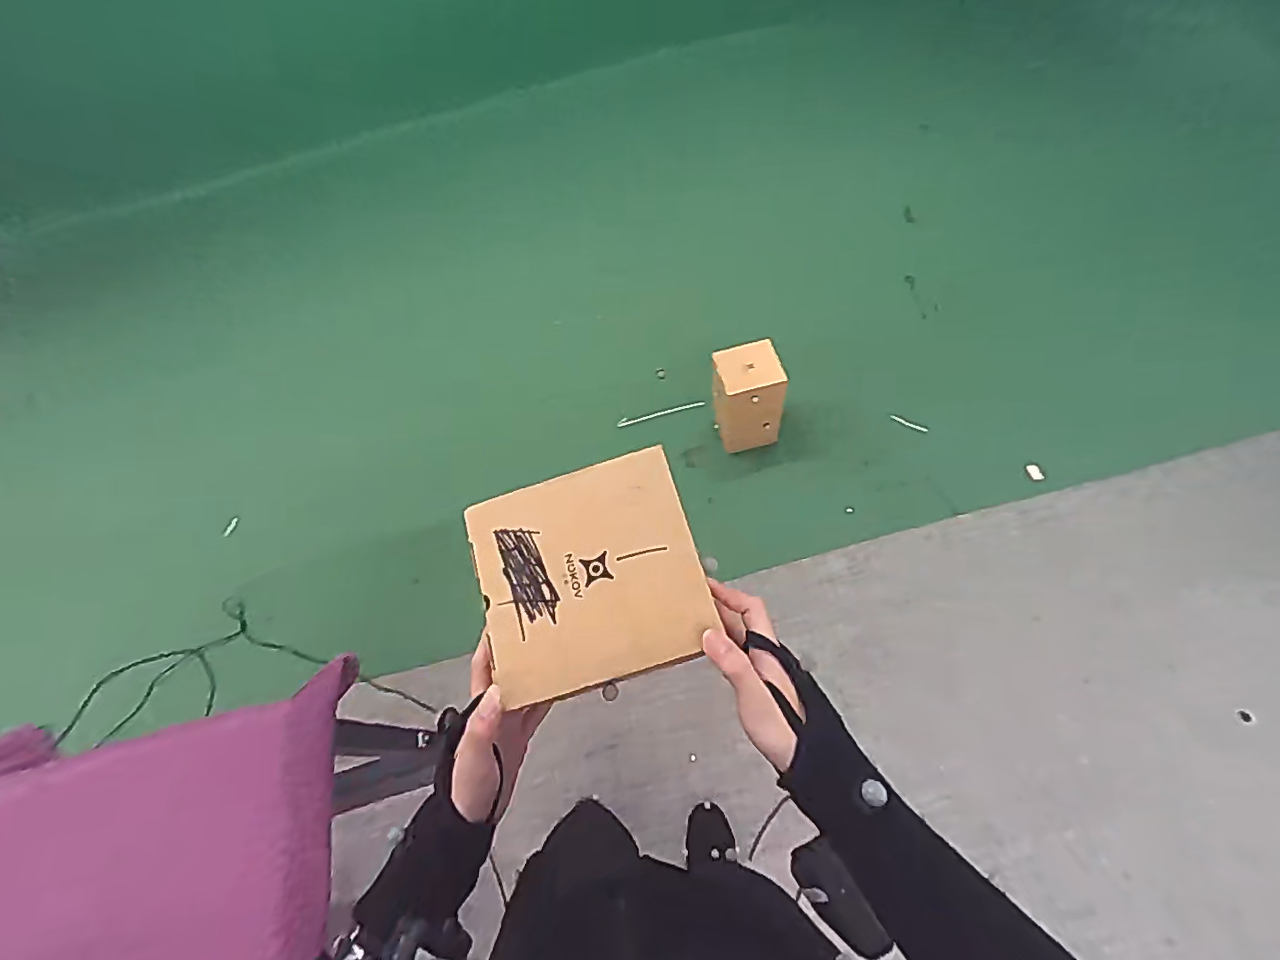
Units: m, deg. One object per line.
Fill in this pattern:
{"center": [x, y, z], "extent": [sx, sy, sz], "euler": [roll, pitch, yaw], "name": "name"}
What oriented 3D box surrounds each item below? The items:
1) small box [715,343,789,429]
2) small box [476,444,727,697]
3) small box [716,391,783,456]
{"center": [0.330, -0.278, 1.631], "extent": [0.179, 0.176, 0.168], "euler": [-15, 60, 1], "name": "small box"}
{"center": [-0.026, 0.093, 0.497], "extent": [0.179, 0.176, 0.168], "euler": [-16, 69, 2], "name": "small box"}
{"center": [0.352, -0.203, 1.773], "extent": [0.179, 0.176, 0.168], "euler": [-13, 60, 1], "name": "small box"}
